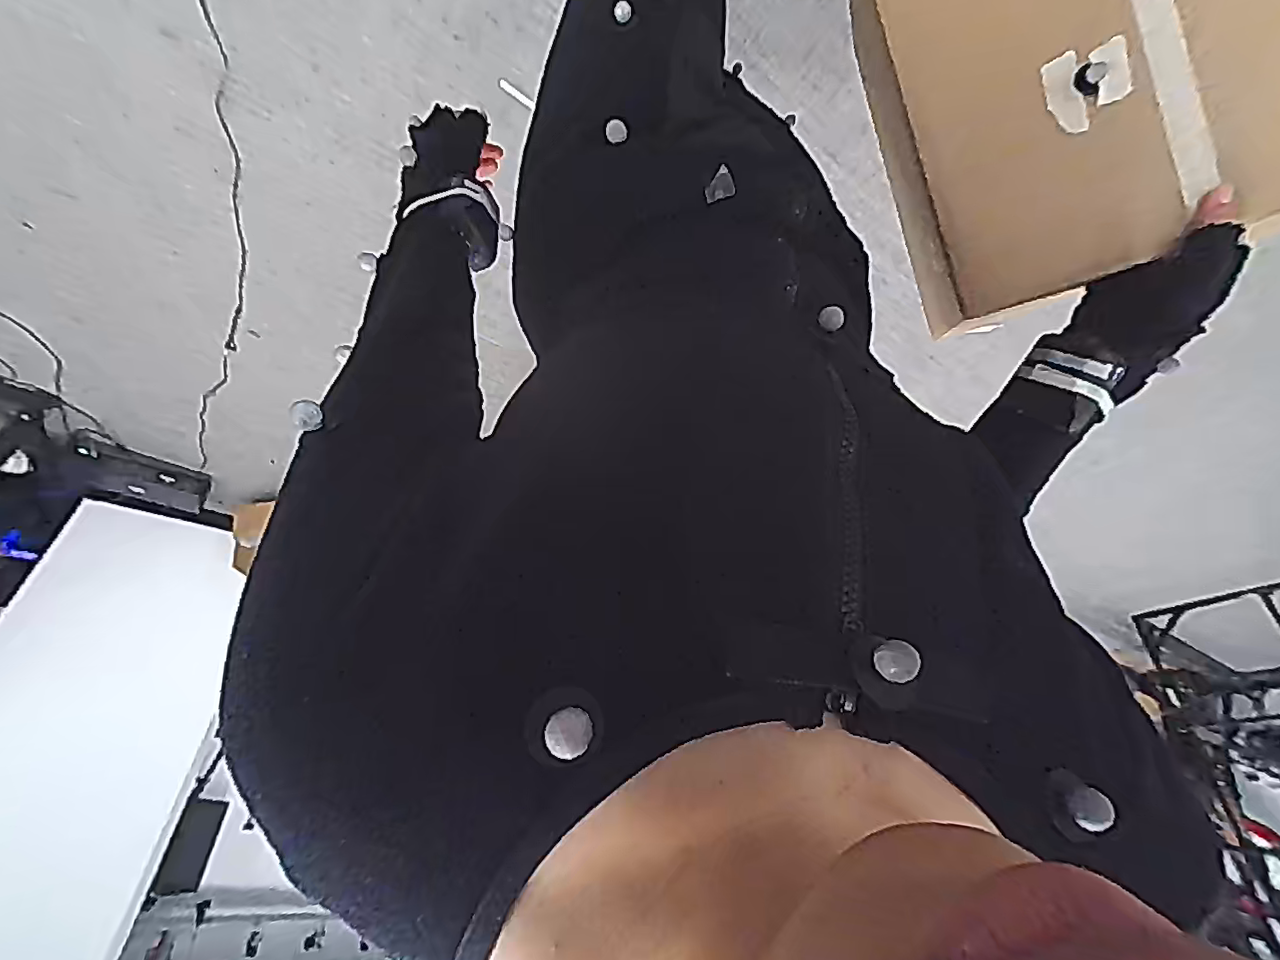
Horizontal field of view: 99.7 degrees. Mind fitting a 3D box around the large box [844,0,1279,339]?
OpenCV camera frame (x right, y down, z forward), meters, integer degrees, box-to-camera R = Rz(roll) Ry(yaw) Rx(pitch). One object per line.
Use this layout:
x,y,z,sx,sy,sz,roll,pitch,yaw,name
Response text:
0.409,-0.388,0.525,0.320,0.408,0.320,-16,-177,26,large box
